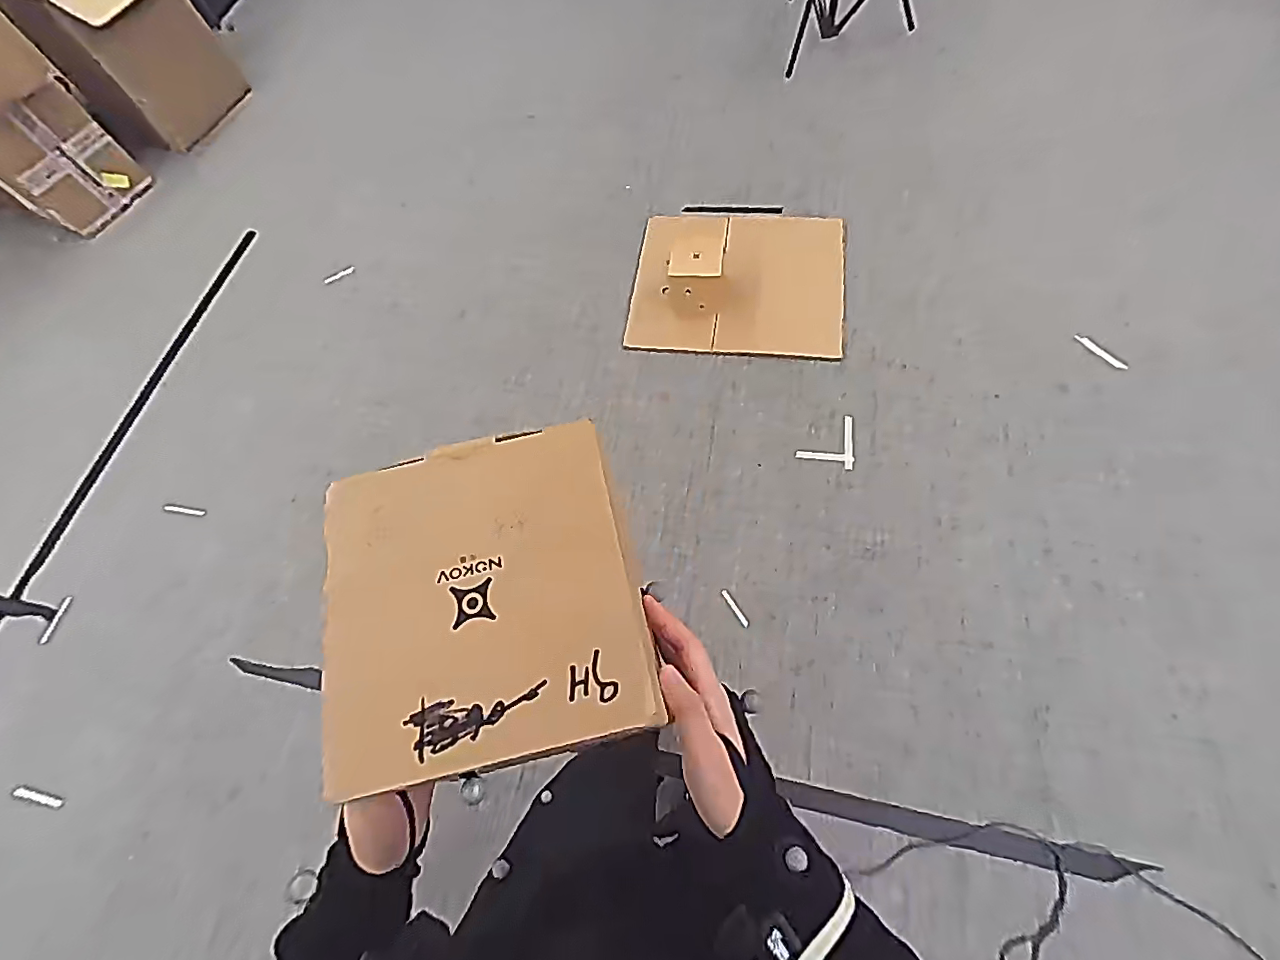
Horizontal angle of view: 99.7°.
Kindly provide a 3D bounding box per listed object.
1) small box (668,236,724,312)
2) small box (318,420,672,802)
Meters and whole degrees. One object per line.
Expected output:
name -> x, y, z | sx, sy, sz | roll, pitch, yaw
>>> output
small box -> 0.187, -0.666, 1.760 | 0.168, 0.176, 0.179 | 3, 66, 9
small box -> -0.080, 0.091, 0.360 | 0.168, 0.176, 0.179 | -15, 65, 1
